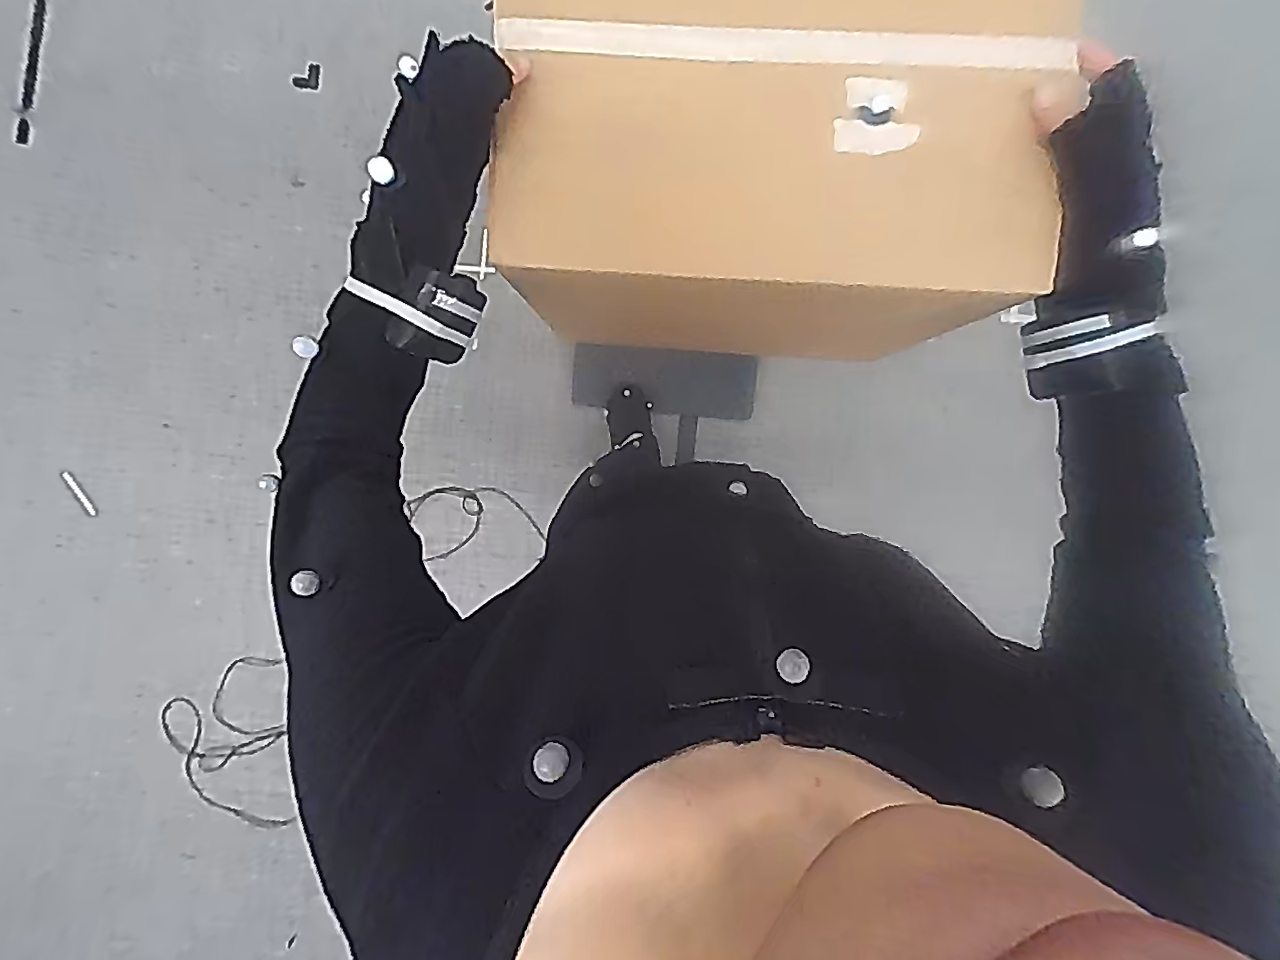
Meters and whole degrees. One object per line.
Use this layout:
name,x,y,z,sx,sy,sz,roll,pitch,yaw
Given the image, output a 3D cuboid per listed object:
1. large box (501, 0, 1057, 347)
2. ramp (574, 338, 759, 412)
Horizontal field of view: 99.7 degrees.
large box,0.099,-0.321,0.542,0.408,0.320,0.320,3,94,1
ramp,0.105,-0.692,1.391,0.509,0.206,0.991,3,90,-2
